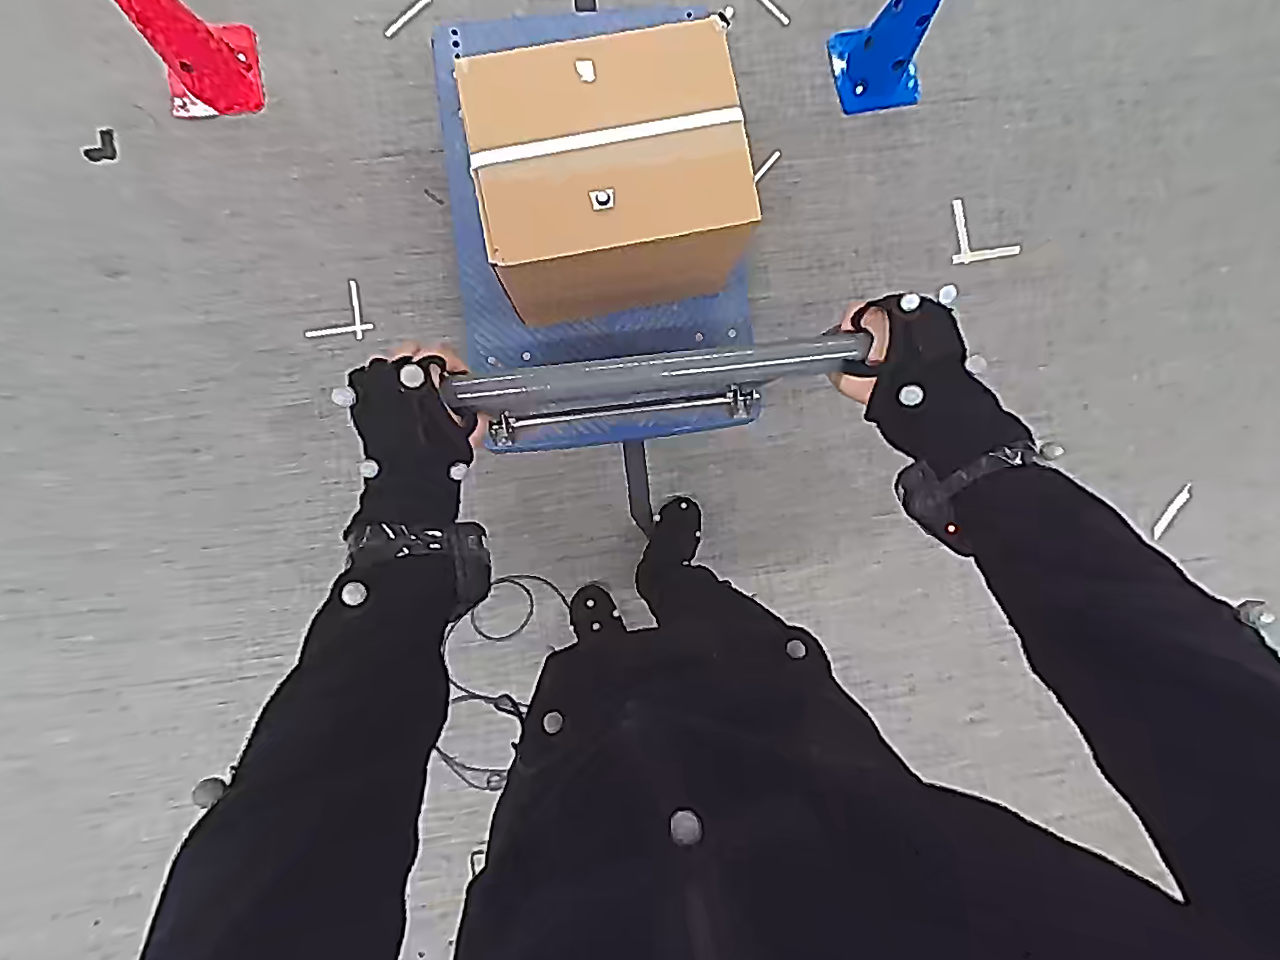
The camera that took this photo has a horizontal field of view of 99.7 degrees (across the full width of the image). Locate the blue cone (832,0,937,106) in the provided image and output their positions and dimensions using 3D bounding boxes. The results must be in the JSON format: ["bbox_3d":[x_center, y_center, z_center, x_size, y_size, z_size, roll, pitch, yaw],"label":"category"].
[{"bbox_3d":[0.579,-1.010,1.146,0.193,0.380,0.192,-11,89,-3],"label":"blue cone"}]
